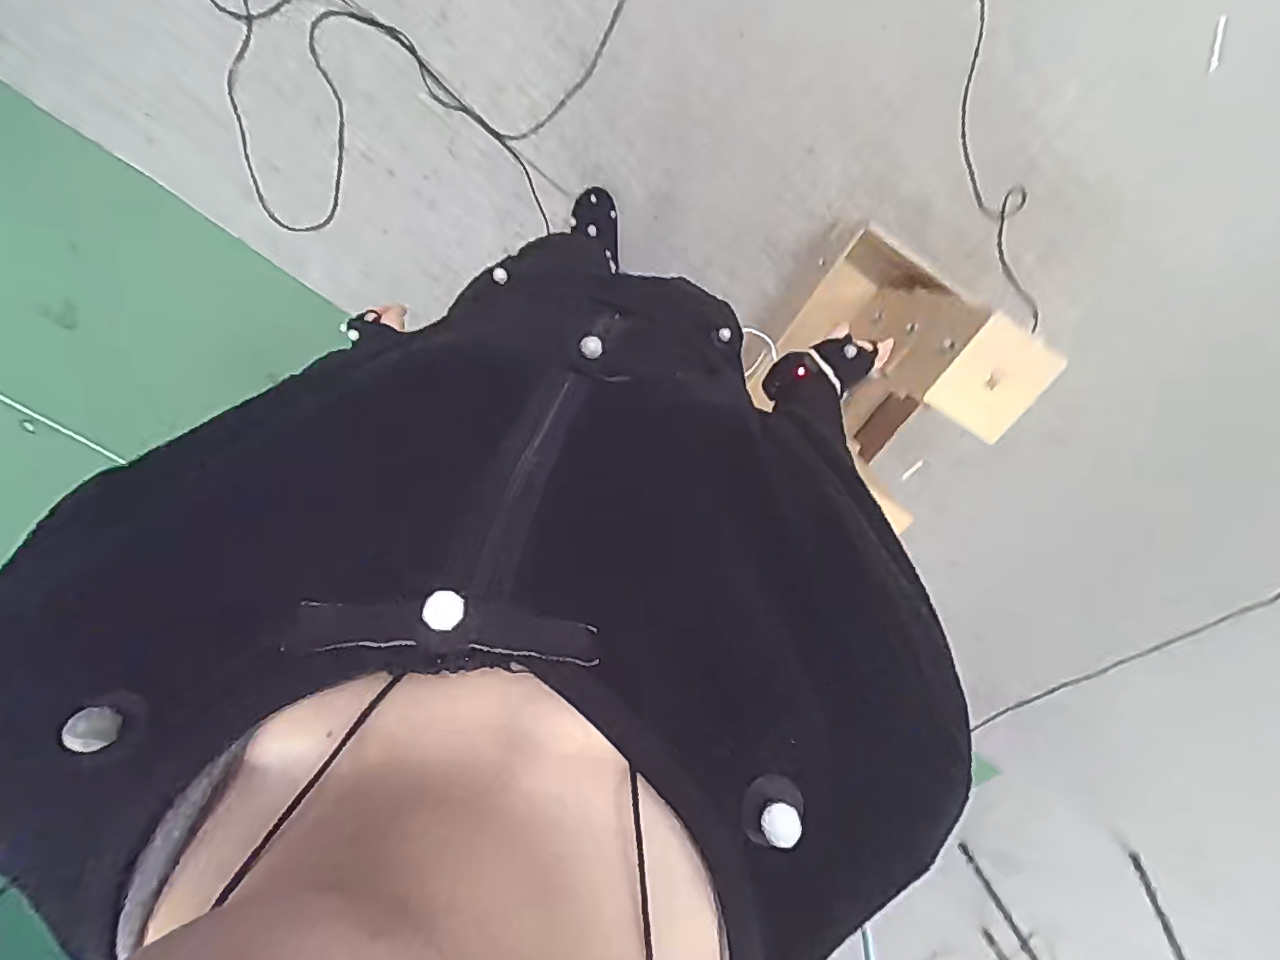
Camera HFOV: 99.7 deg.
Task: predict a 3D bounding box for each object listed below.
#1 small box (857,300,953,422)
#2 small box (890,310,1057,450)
[{"bbox_3d":[0.595,-0.258,1.142,0.168,0.176,0.179,34,112,-13],"label":"small box"},{"bbox_3d":[0.592,-0.189,0.995,0.168,0.176,0.179,29,111,-11],"label":"small box"}]
